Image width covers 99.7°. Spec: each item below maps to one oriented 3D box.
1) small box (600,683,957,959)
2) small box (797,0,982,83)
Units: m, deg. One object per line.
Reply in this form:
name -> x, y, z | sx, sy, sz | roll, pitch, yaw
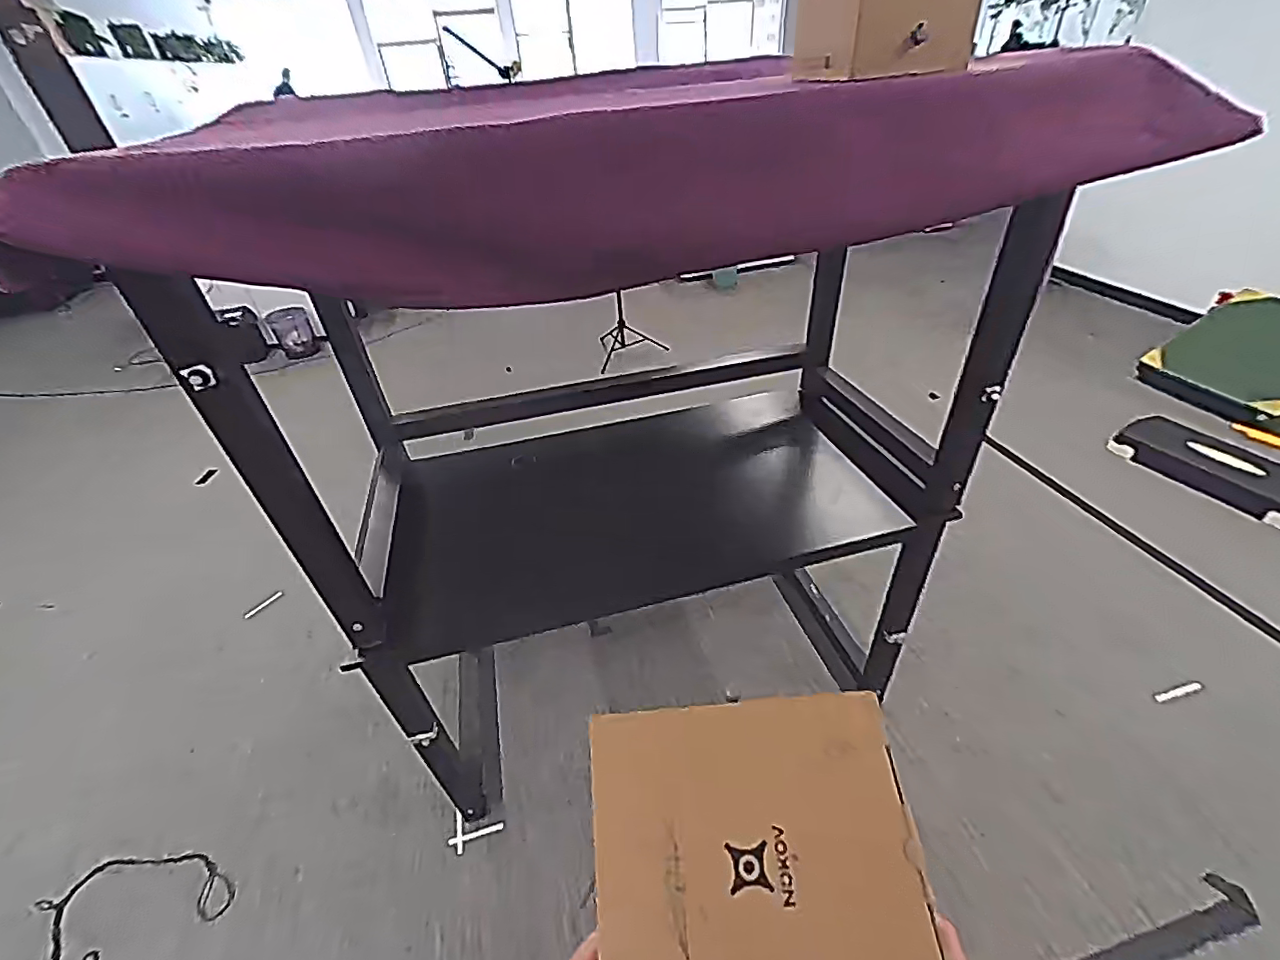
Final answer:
small box -> 0.071, 0.235, 0.360 | 0.179, 0.176, 0.168 | -5, 62, 2
small box -> 0.327, -0.633, 0.708 | 0.179, 0.176, 0.168 | -12, 37, -9
